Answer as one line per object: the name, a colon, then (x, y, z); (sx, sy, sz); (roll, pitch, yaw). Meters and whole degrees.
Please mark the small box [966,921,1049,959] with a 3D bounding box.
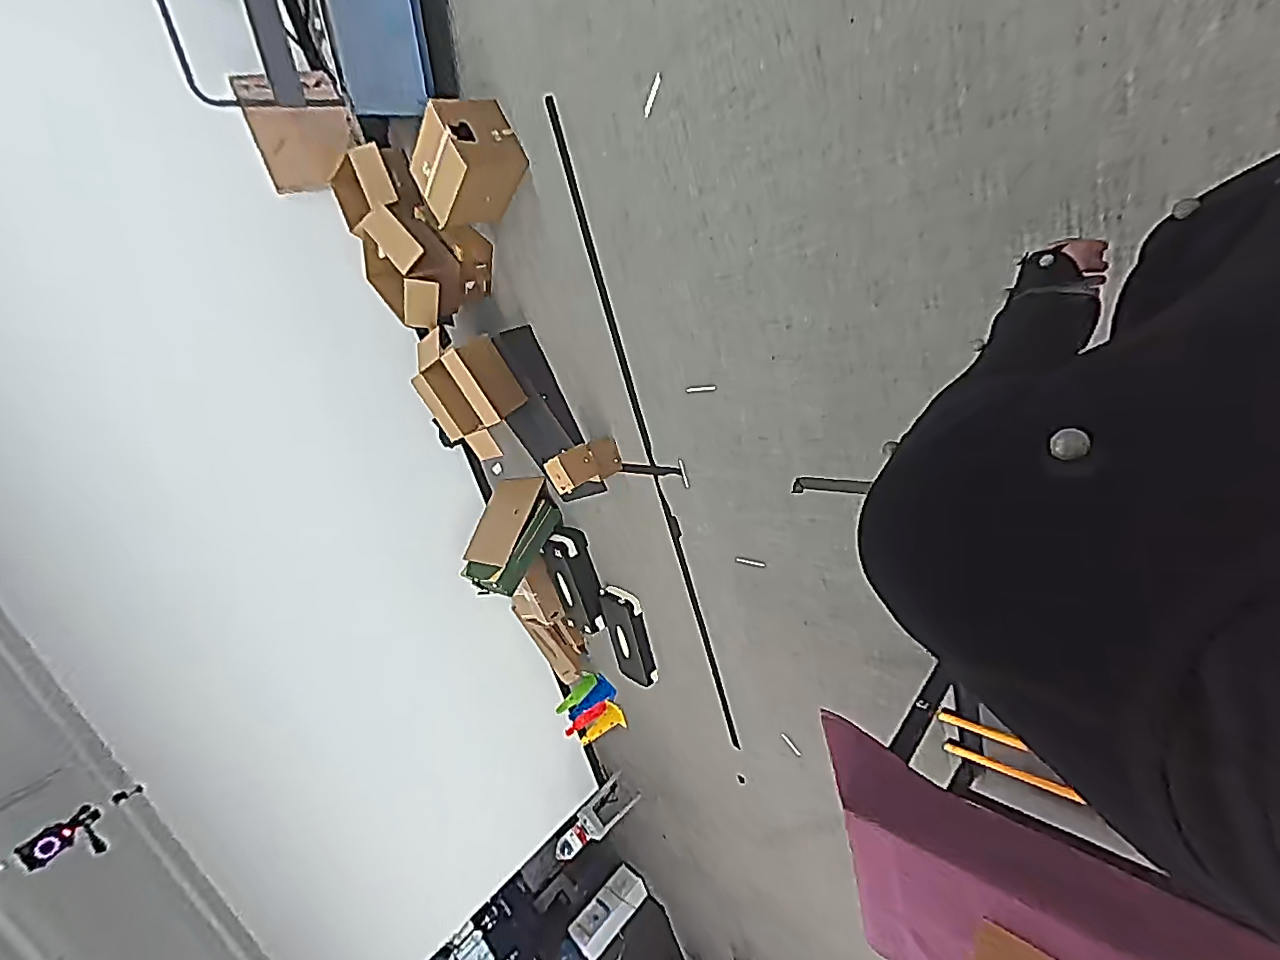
small box: (0.810, 1.124, 1.171); (0.179, 0.176, 0.168); (7, 120, 48)
